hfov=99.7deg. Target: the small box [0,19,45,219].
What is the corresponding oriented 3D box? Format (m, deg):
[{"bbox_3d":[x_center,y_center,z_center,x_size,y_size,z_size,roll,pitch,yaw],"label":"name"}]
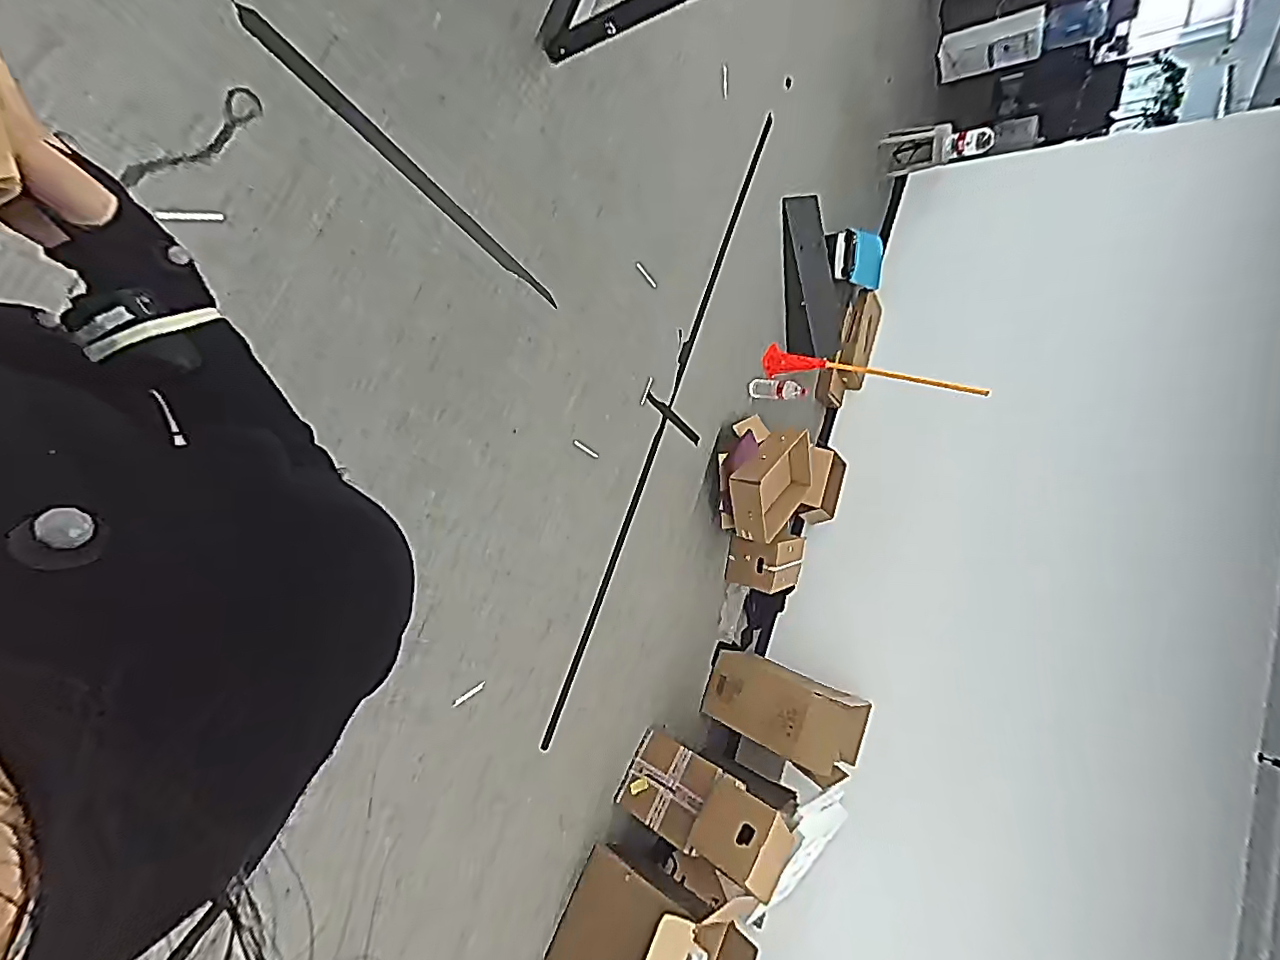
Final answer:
[{"bbox_3d":[-0.400,-0.210,0.216,0.168,0.176,0.179,-23,117,-54],"label":"small box"}]
